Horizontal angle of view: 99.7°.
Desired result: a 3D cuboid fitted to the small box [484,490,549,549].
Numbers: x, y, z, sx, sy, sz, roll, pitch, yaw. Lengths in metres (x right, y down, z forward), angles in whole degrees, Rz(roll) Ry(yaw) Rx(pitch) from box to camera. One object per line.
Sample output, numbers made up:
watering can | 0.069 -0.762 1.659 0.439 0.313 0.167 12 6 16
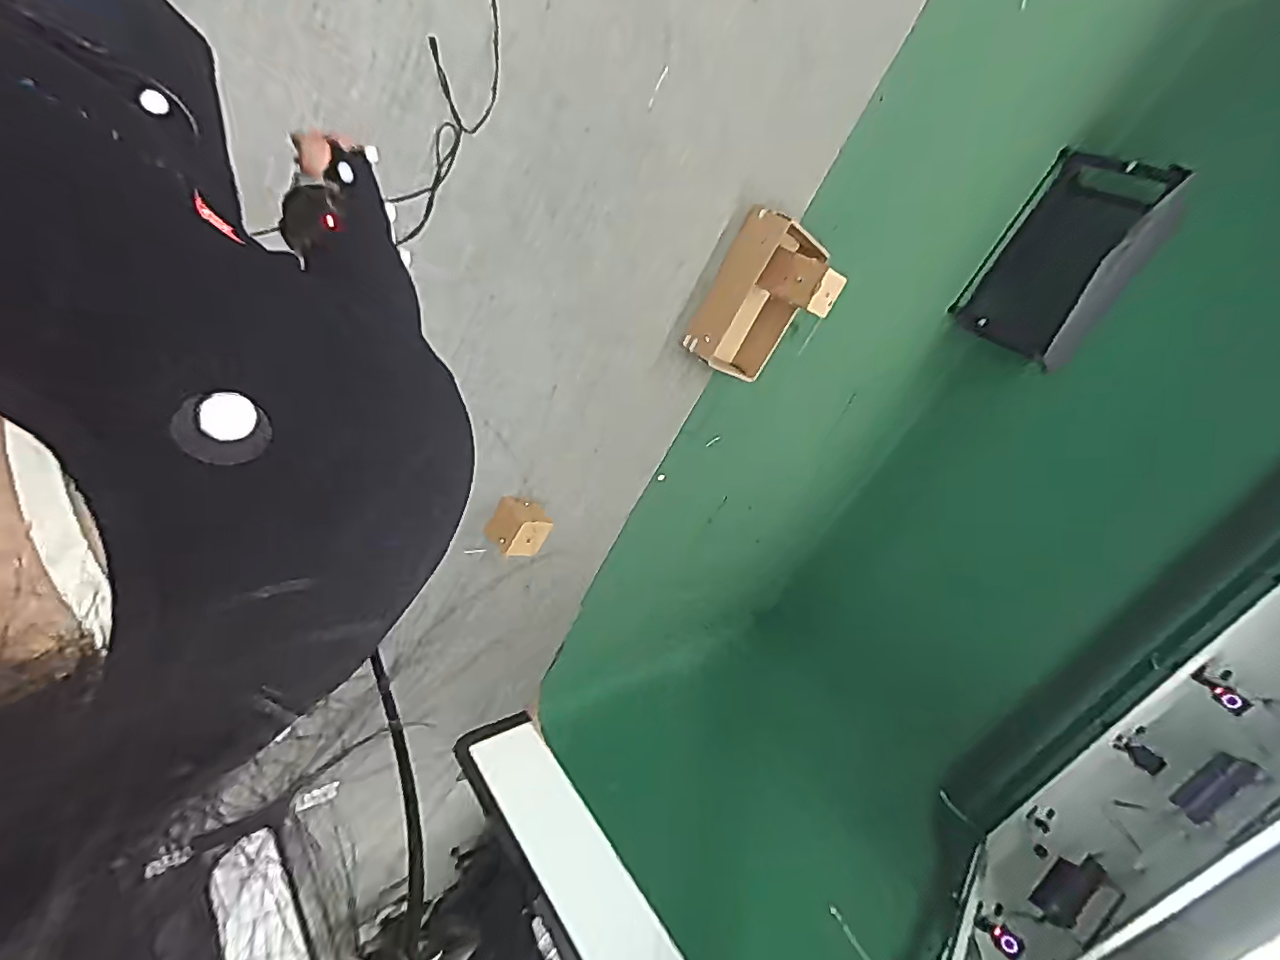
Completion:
small box | -0.514 0.164 2.214 0.168 0.176 0.179 10 118 -54

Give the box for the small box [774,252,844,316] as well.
small box | 0.661 -0.776 2.131 0.179 0.176 0.168 1 125 -48

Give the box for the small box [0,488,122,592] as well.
small box | -1.326 0.132 1.237 0.179 0.176 0.168 4 123 -52
